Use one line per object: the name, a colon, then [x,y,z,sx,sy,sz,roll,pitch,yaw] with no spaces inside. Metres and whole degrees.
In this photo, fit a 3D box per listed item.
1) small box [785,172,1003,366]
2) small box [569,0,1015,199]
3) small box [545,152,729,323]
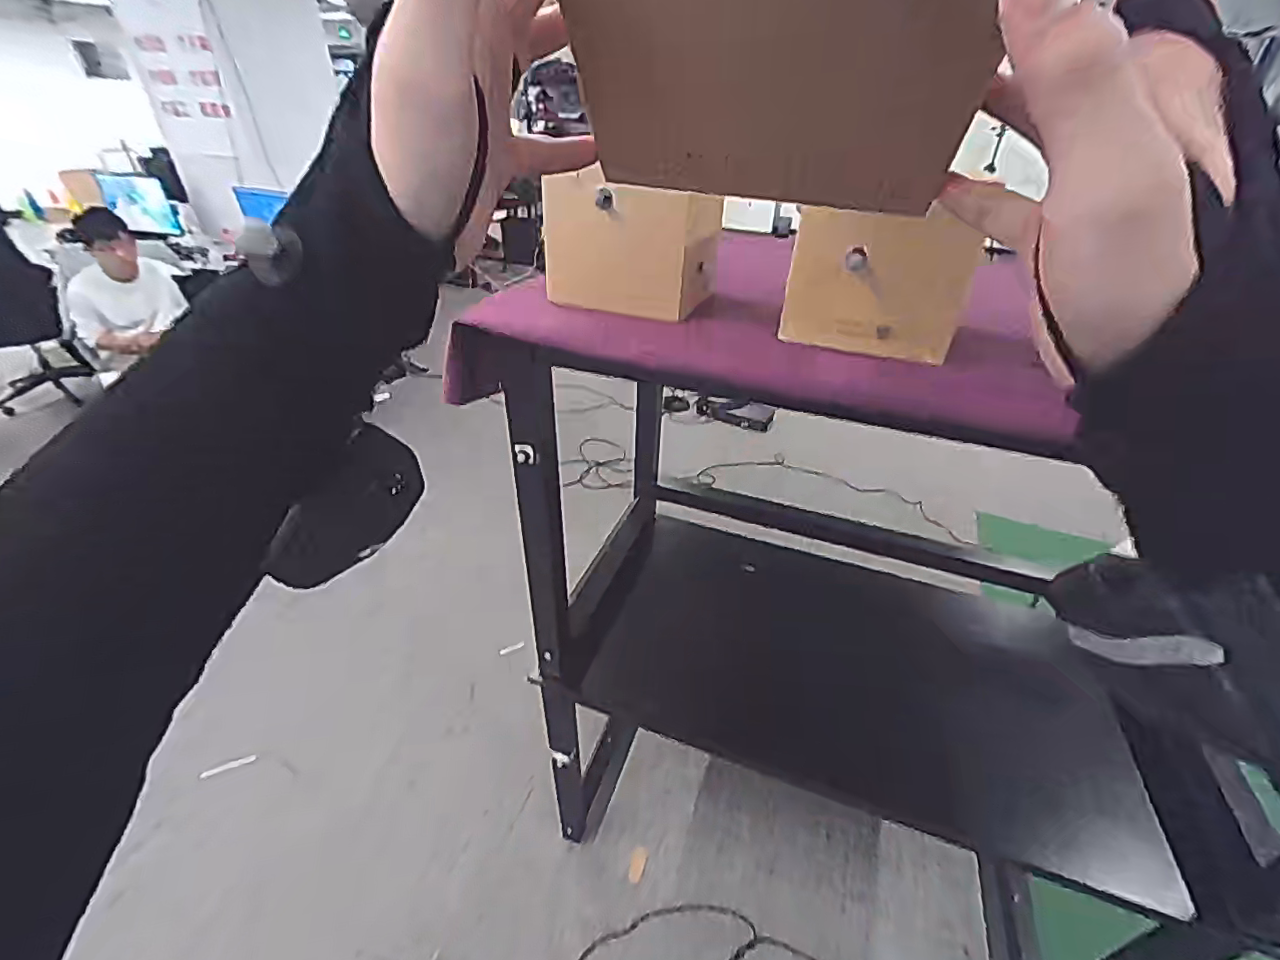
small box: [0.261,-0.235,0.587,0.168,0.176,0.179,14,34,17]
small box: [0.073,-0.254,0.234,0.179,0.176,0.168,13,77,12]
small box: [0.000,-0.304,0.671,0.179,0.176,0.168,14,36,16]
